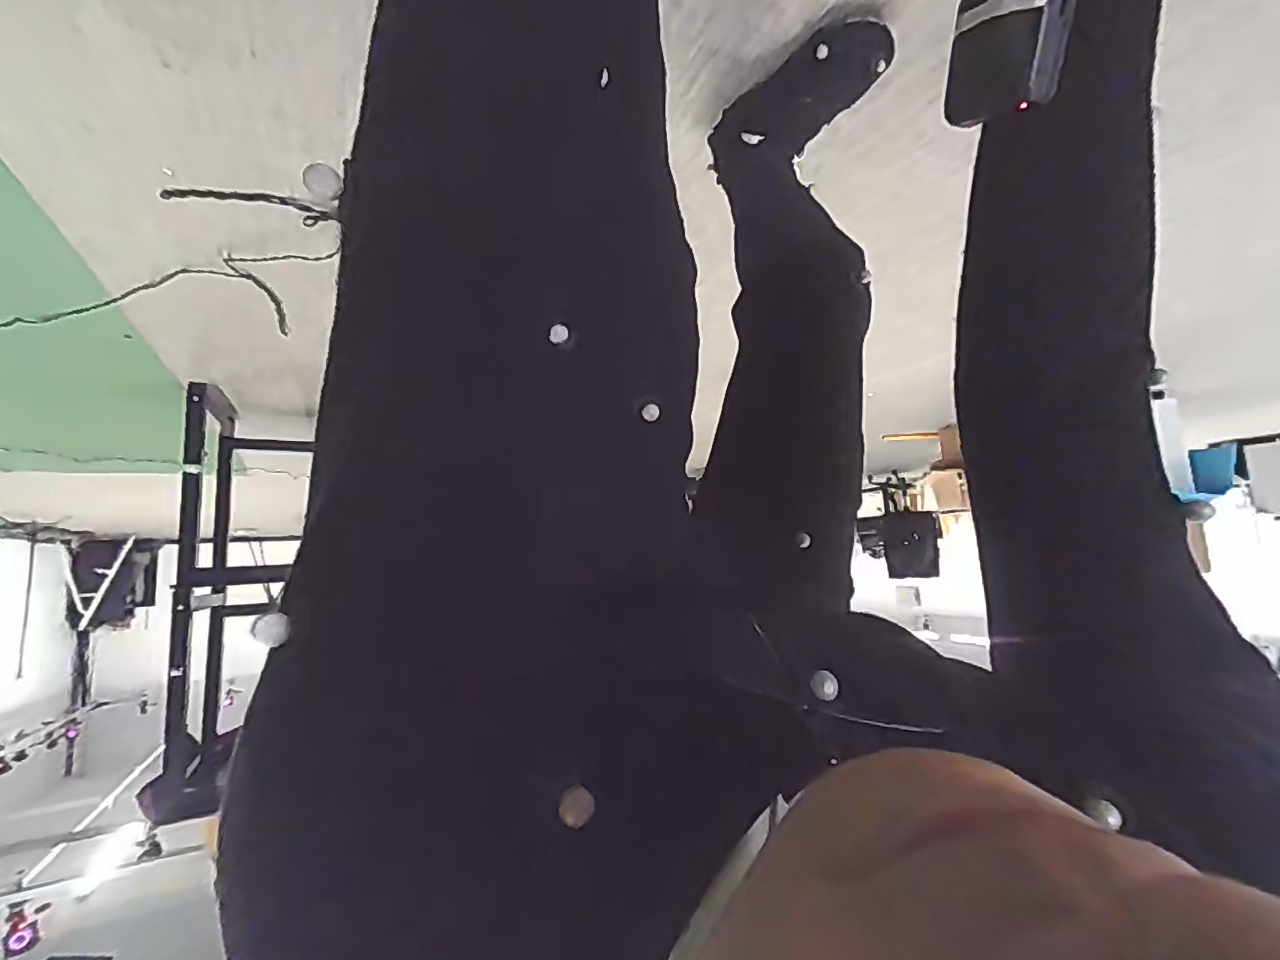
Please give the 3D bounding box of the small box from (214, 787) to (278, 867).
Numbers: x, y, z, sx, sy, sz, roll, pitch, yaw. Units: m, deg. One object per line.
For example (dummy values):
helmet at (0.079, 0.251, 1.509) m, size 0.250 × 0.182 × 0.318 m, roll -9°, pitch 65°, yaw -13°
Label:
small box at (-1.380, 1.207, 1.901) m, size 0.179 × 0.176 × 0.168 m, roll 1°, pitch 170°, yaw -32°
